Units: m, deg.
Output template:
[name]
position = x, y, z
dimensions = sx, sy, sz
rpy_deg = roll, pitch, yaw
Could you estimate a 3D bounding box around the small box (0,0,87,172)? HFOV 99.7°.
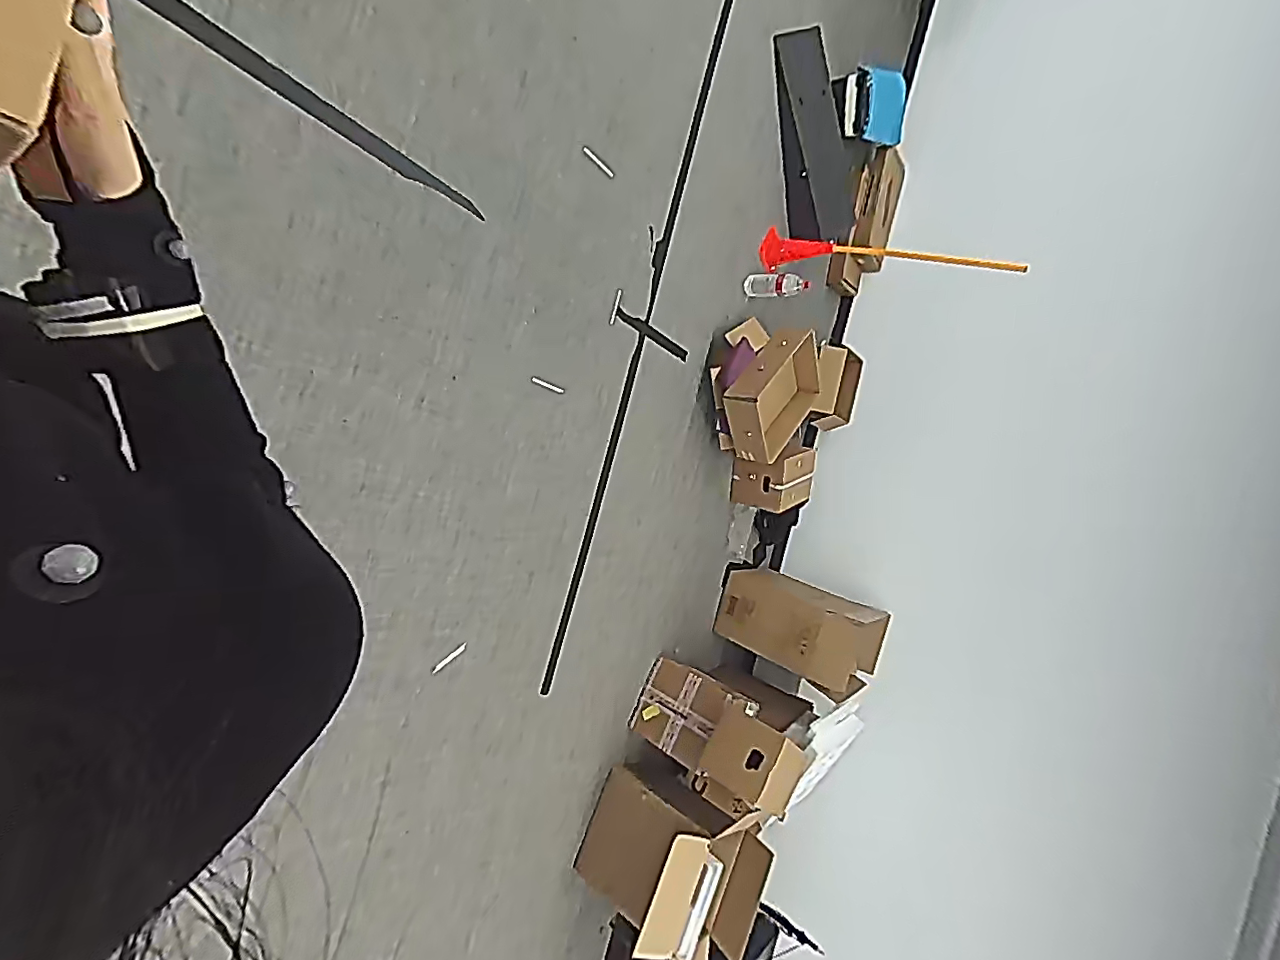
[small box]
position = -0.333, -0.243, 0.202
dimensions = 0.168, 0.176, 0.179
rpy_deg = 17, 83, -58
